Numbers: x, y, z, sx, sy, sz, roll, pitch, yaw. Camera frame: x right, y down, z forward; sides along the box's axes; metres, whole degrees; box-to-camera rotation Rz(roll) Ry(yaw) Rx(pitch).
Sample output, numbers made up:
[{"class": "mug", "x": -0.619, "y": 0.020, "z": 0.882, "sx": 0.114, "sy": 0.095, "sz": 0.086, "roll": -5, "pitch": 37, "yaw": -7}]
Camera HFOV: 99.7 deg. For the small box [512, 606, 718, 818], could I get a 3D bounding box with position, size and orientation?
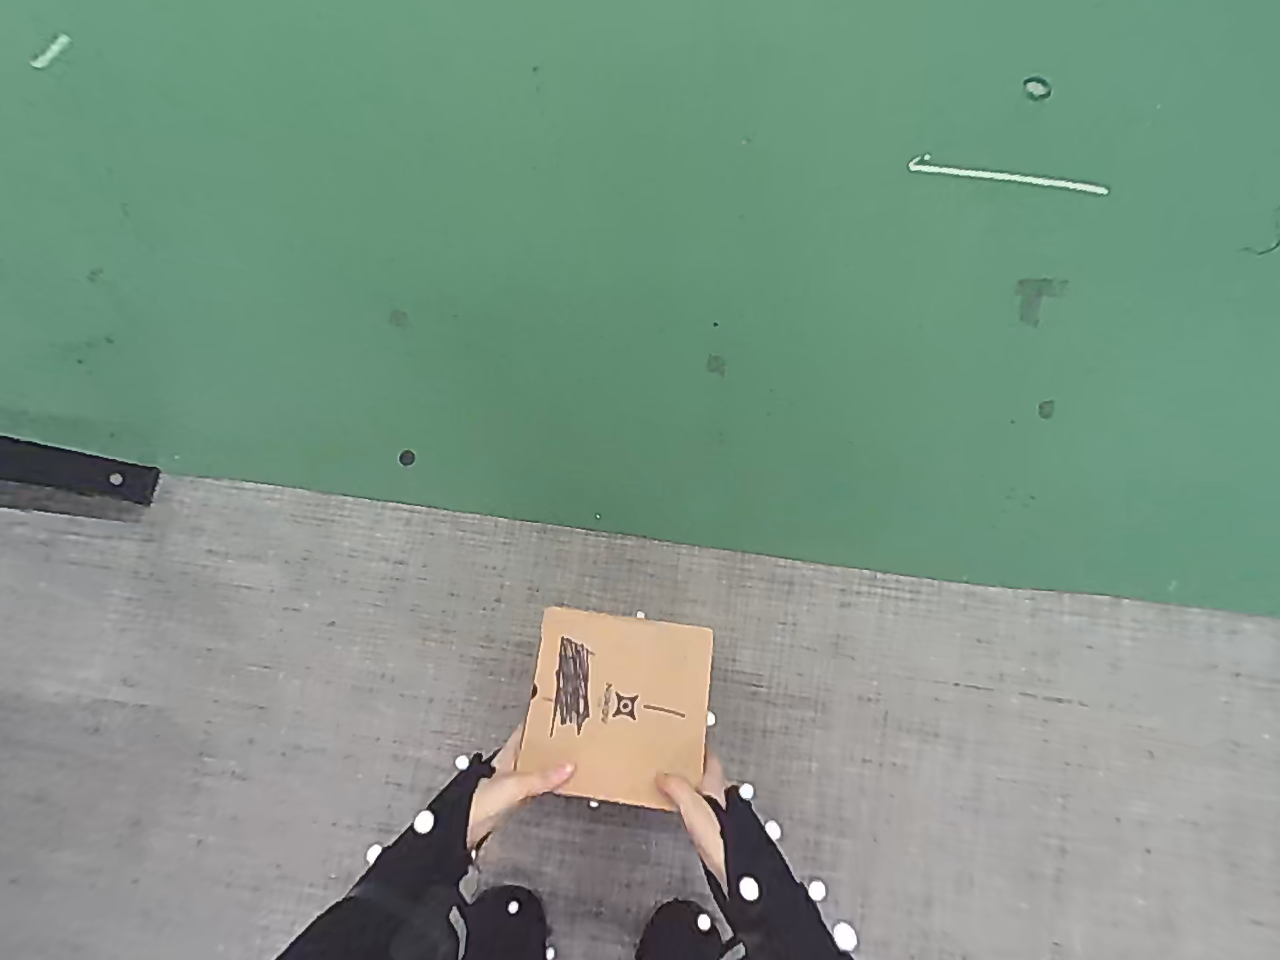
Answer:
[{"class": "small box", "x": -0.017, "y": 0.241, "z": 0.585, "sx": 0.179, "sy": 0.176, "sz": 0.168, "roll": 7, "pitch": 70, "yaw": 4}]
